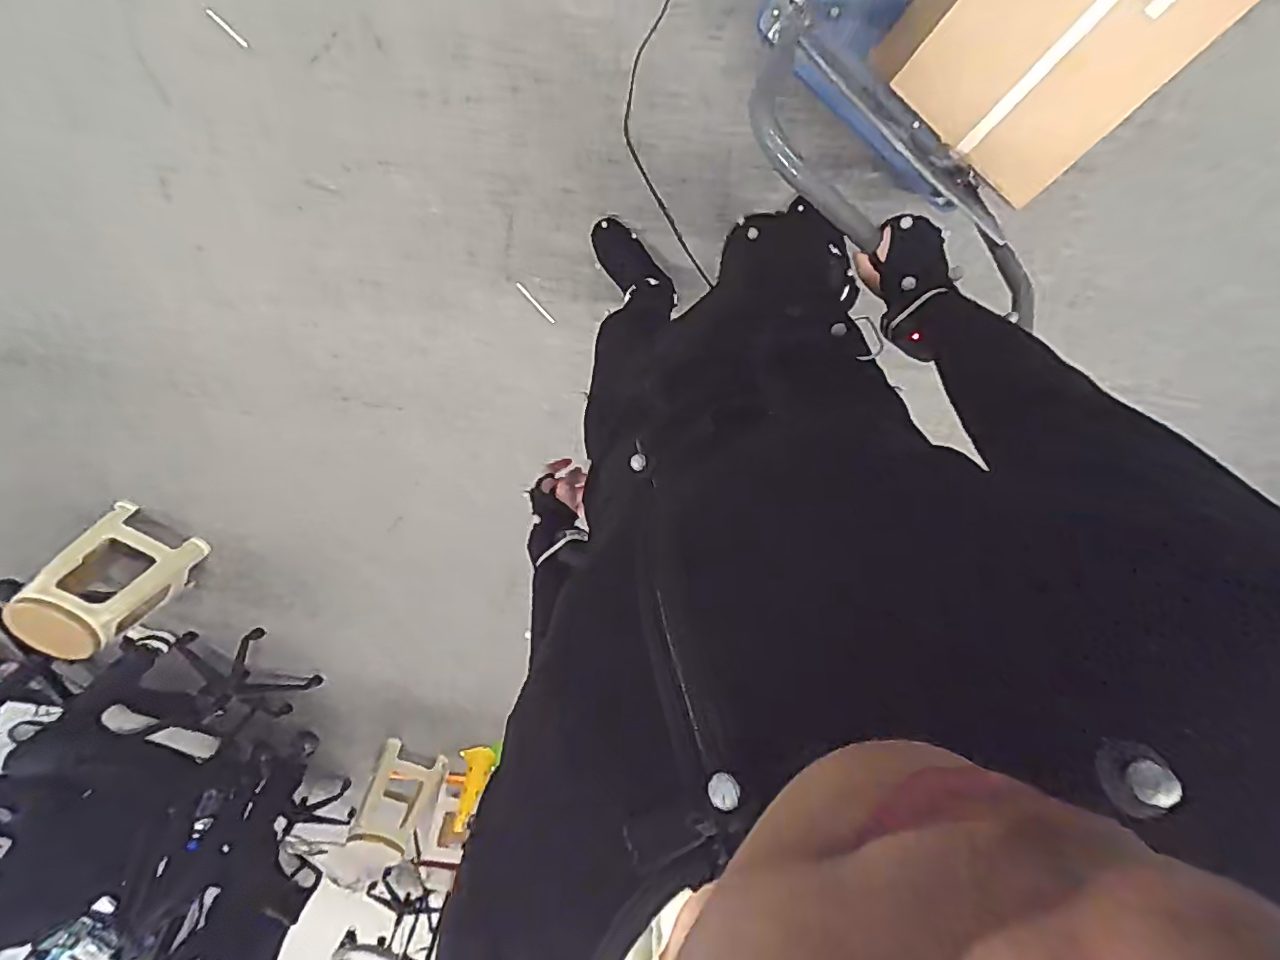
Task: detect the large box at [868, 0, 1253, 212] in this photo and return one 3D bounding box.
[{"bbox_3d":[0.644,-0.736,0.869,0.320,0.320,0.408,32,131,-15],"label":"large box"}]
